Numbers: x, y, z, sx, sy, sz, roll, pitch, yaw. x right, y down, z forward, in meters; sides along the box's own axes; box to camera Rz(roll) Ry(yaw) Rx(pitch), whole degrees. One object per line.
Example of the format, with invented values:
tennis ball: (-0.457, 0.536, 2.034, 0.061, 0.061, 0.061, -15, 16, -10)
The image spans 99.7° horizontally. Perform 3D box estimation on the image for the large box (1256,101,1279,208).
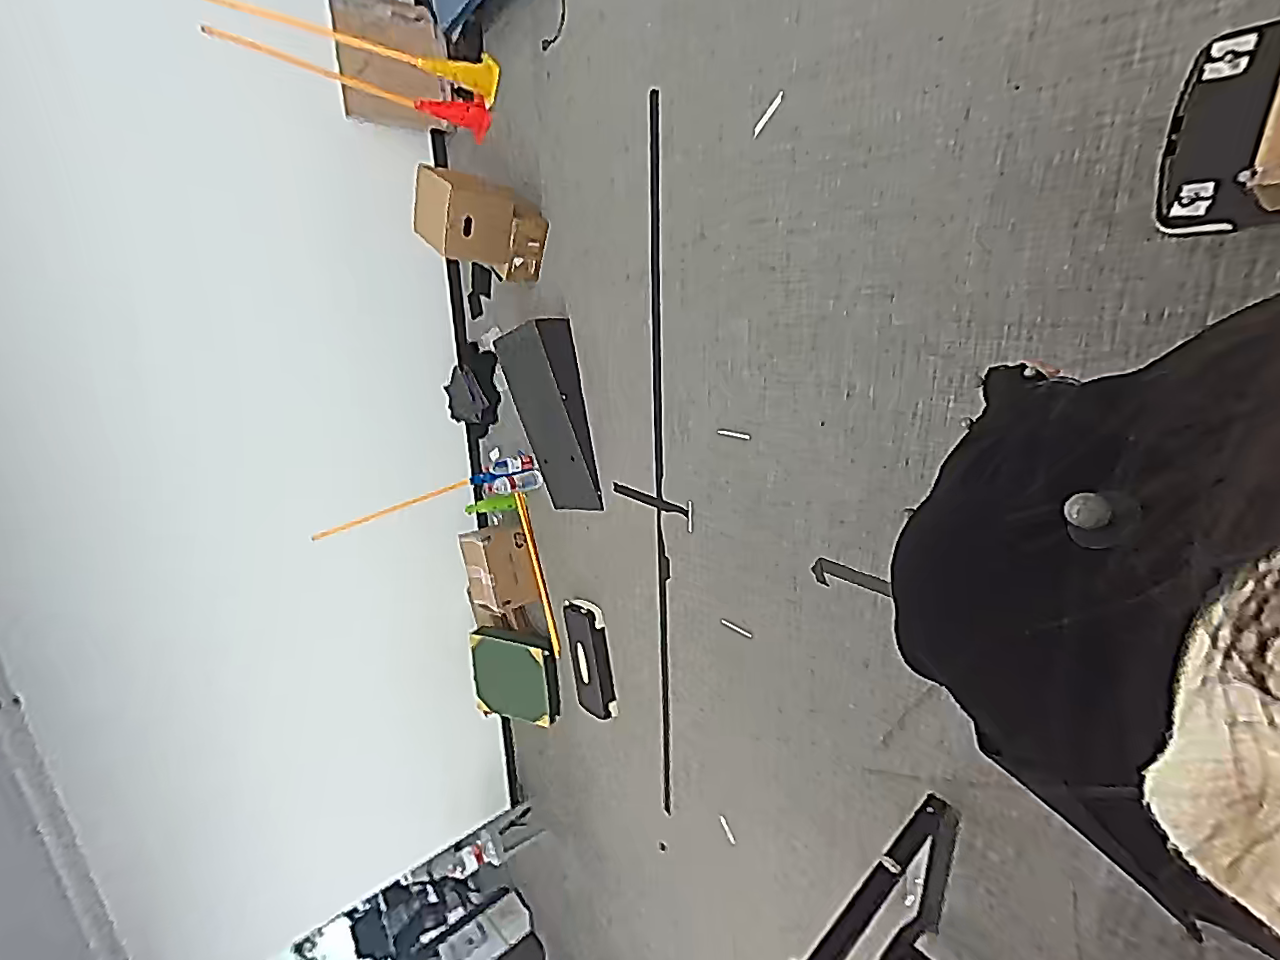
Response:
large box: (0.983, -0.482, 0.548, 0.408, 0.320, 0.320, 21, 117, 48)

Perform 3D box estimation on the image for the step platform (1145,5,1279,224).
step platform: (1.149, -0.511, 0.723, 0.684, 0.204, 0.286, 27, 122, 45)
